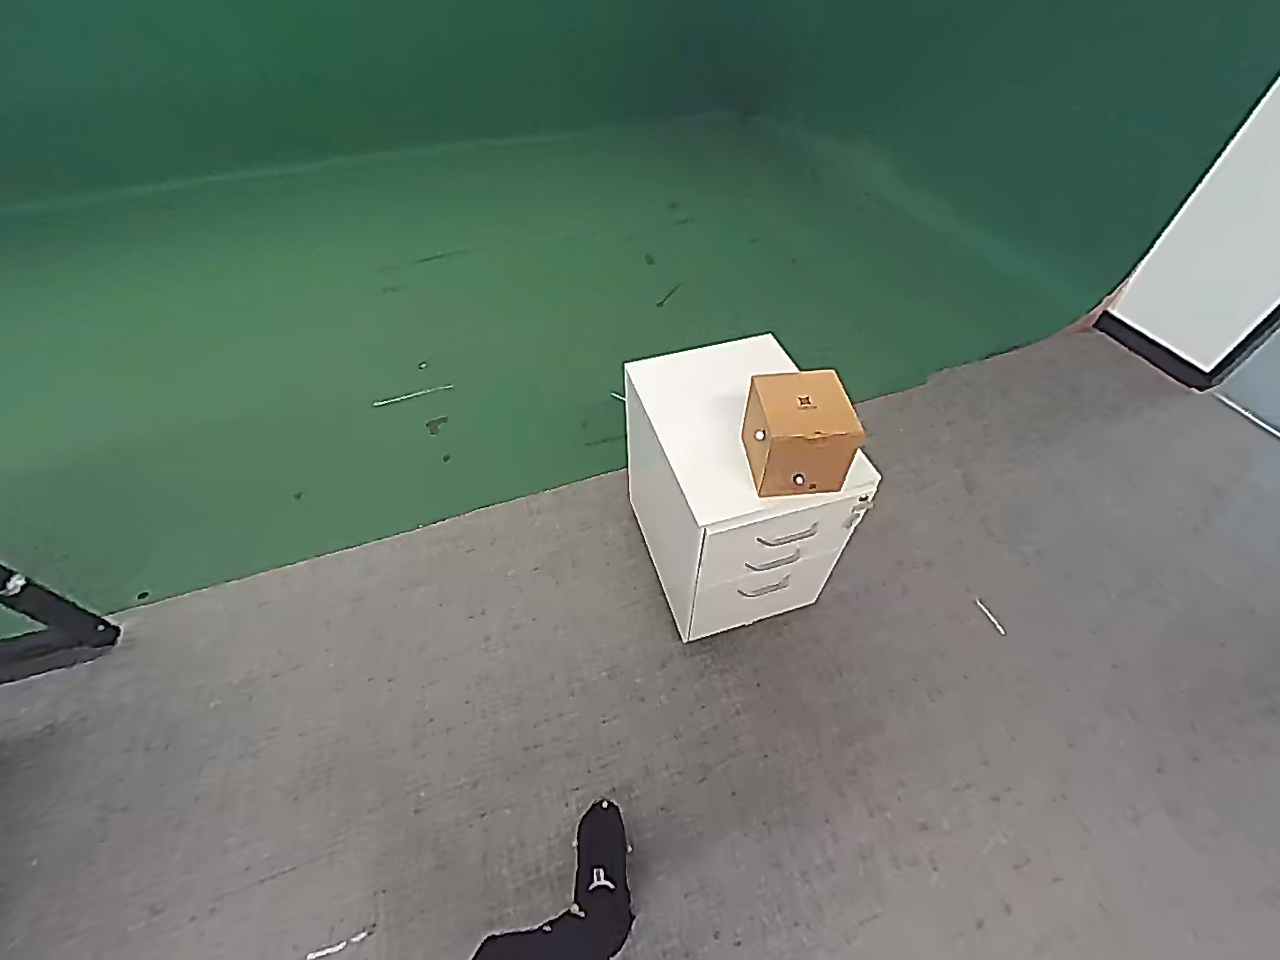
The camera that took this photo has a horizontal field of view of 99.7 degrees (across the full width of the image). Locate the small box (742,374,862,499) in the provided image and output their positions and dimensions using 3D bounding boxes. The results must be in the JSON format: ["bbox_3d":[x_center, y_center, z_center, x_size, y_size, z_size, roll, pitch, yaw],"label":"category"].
[{"bbox_3d":[0.302,-0.085,1.055,0.168,0.176,0.179,-4,50,-2],"label":"small box"}]
